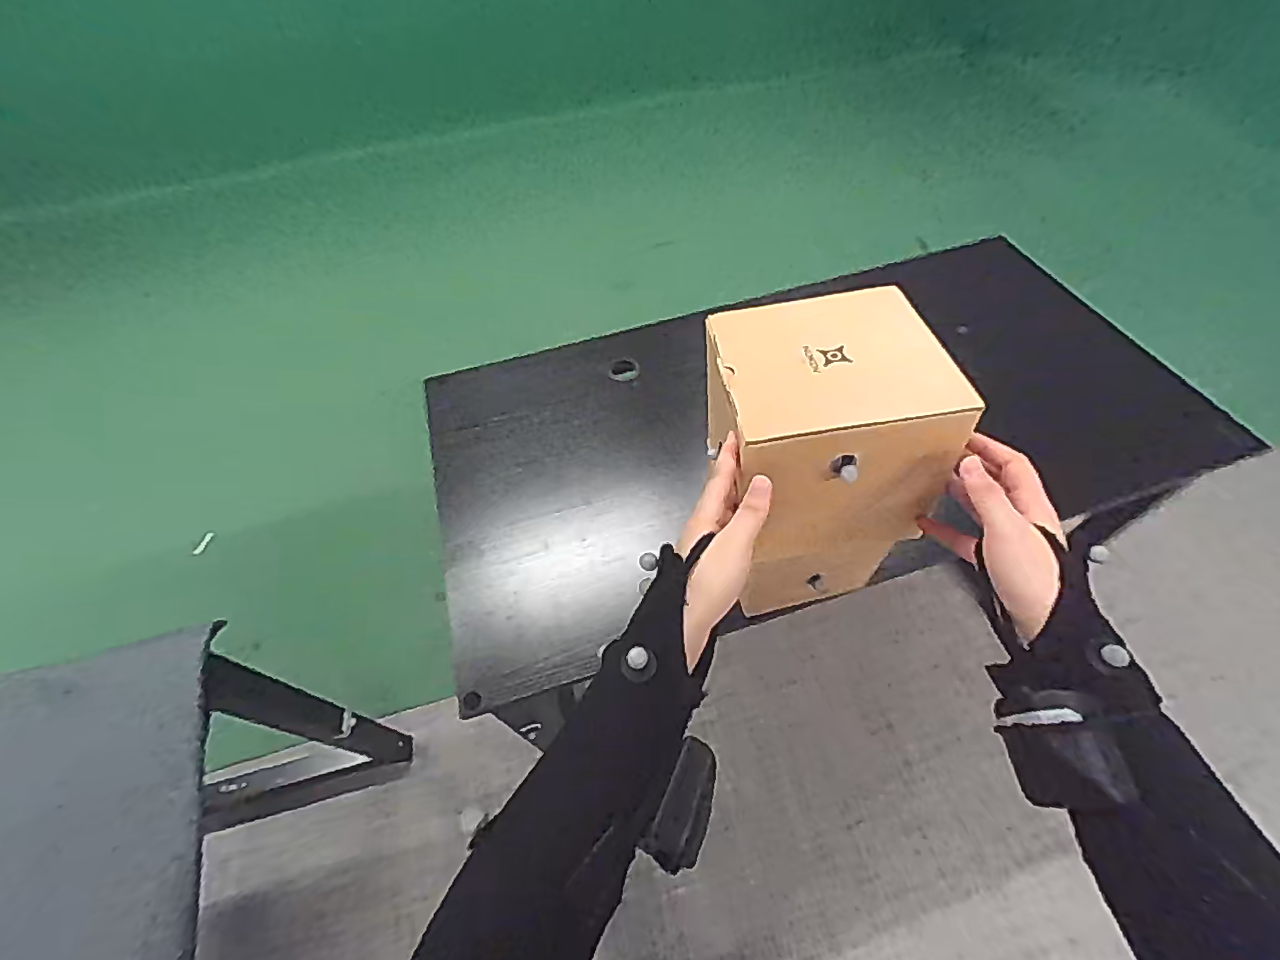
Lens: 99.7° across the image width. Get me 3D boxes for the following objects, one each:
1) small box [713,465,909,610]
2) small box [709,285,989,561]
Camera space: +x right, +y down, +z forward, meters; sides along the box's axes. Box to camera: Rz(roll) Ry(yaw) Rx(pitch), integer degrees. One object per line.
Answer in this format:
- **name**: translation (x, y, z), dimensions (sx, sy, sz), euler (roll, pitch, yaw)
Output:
- **small box**: translation (0.198, 0.050, 0.685), dimensions (0.168, 0.176, 0.179), euler (-13, 55, -6)
- **small box**: translation (0.163, -0.046, 0.491), dimensions (0.179, 0.176, 0.168), euler (-9, 50, 2)
